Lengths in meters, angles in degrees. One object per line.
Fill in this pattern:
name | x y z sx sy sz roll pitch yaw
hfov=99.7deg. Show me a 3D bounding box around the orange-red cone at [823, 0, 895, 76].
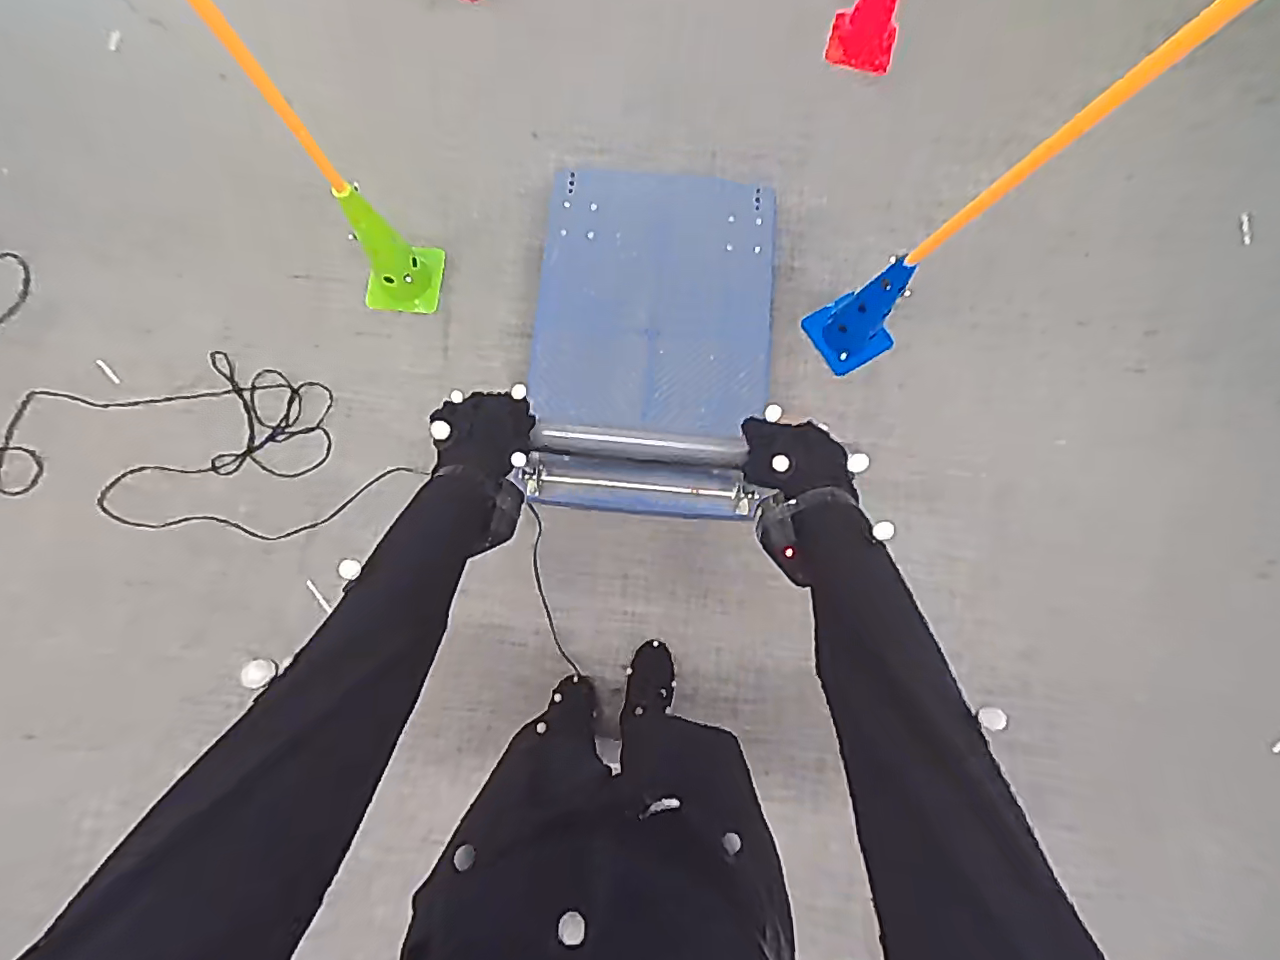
orange-red cone | 0.689 -1.398 1.530 0.198 0.360 0.199 17 80 3
